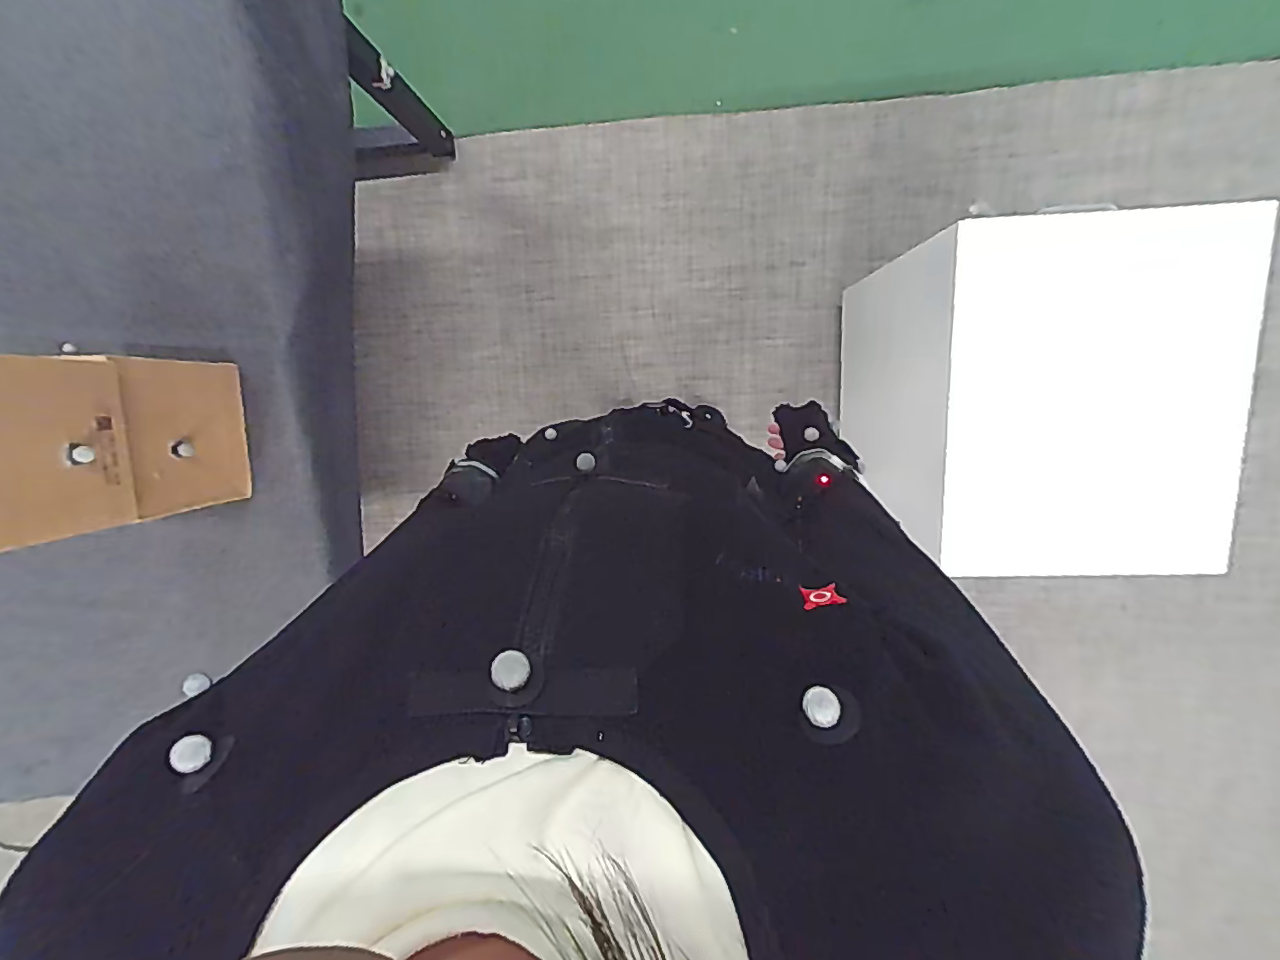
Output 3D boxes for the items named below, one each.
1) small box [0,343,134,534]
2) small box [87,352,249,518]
[{"bbox_3d":[-0.624,-0.035,0.486,0.179,0.176,0.168,-1,99,7],"label":"small box"},{"bbox_3d":[-0.611,-0.061,0.648,0.168,0.176,0.179,1,100,5],"label":"small box"}]
